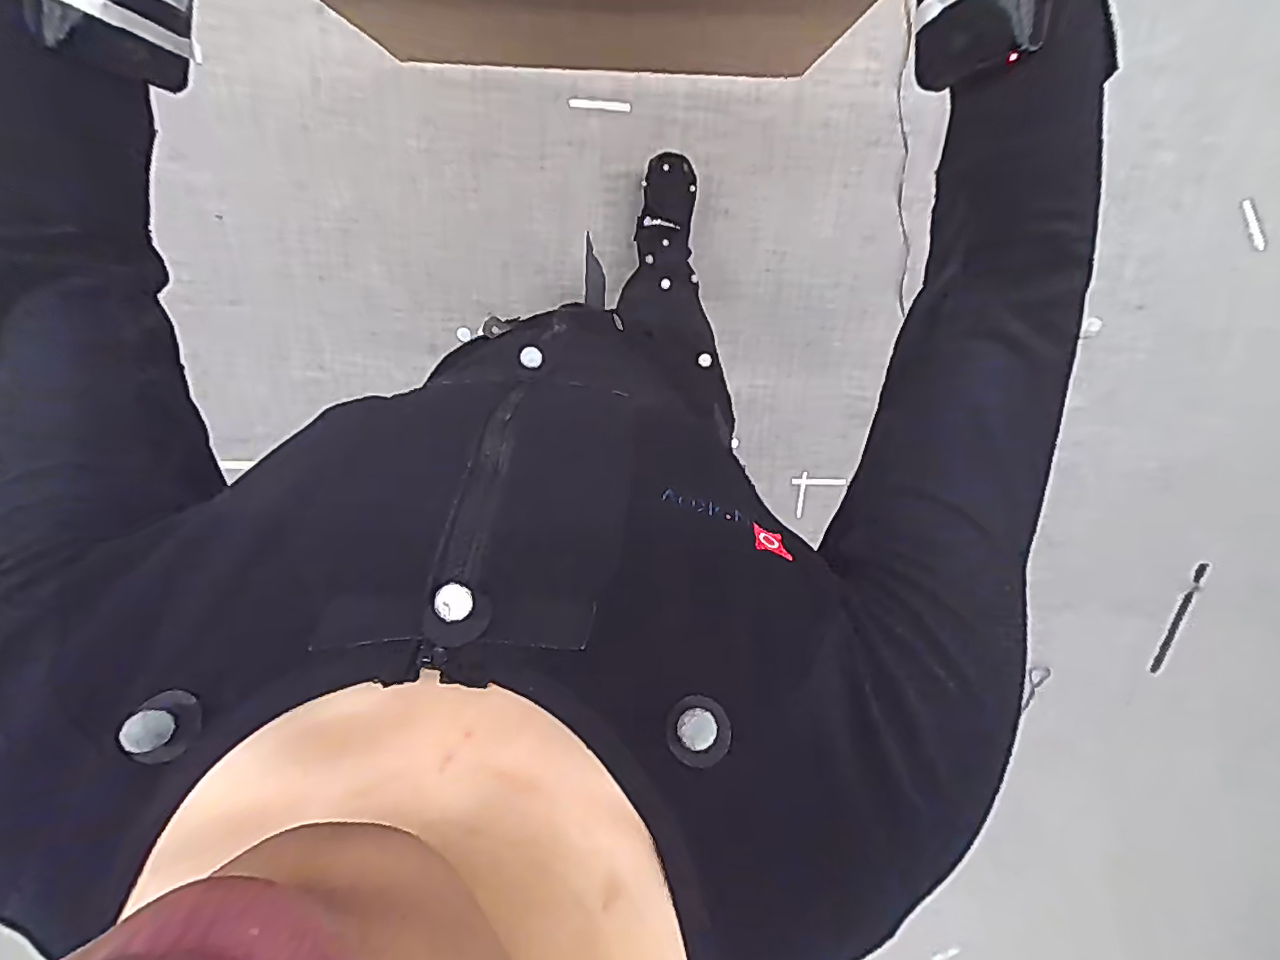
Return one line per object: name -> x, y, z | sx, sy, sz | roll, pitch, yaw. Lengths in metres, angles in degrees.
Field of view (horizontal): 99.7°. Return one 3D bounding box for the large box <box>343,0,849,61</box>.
large box -> -0.035, -0.499, 0.341 | 0.408, 0.320, 0.320 | 1, 115, -1
